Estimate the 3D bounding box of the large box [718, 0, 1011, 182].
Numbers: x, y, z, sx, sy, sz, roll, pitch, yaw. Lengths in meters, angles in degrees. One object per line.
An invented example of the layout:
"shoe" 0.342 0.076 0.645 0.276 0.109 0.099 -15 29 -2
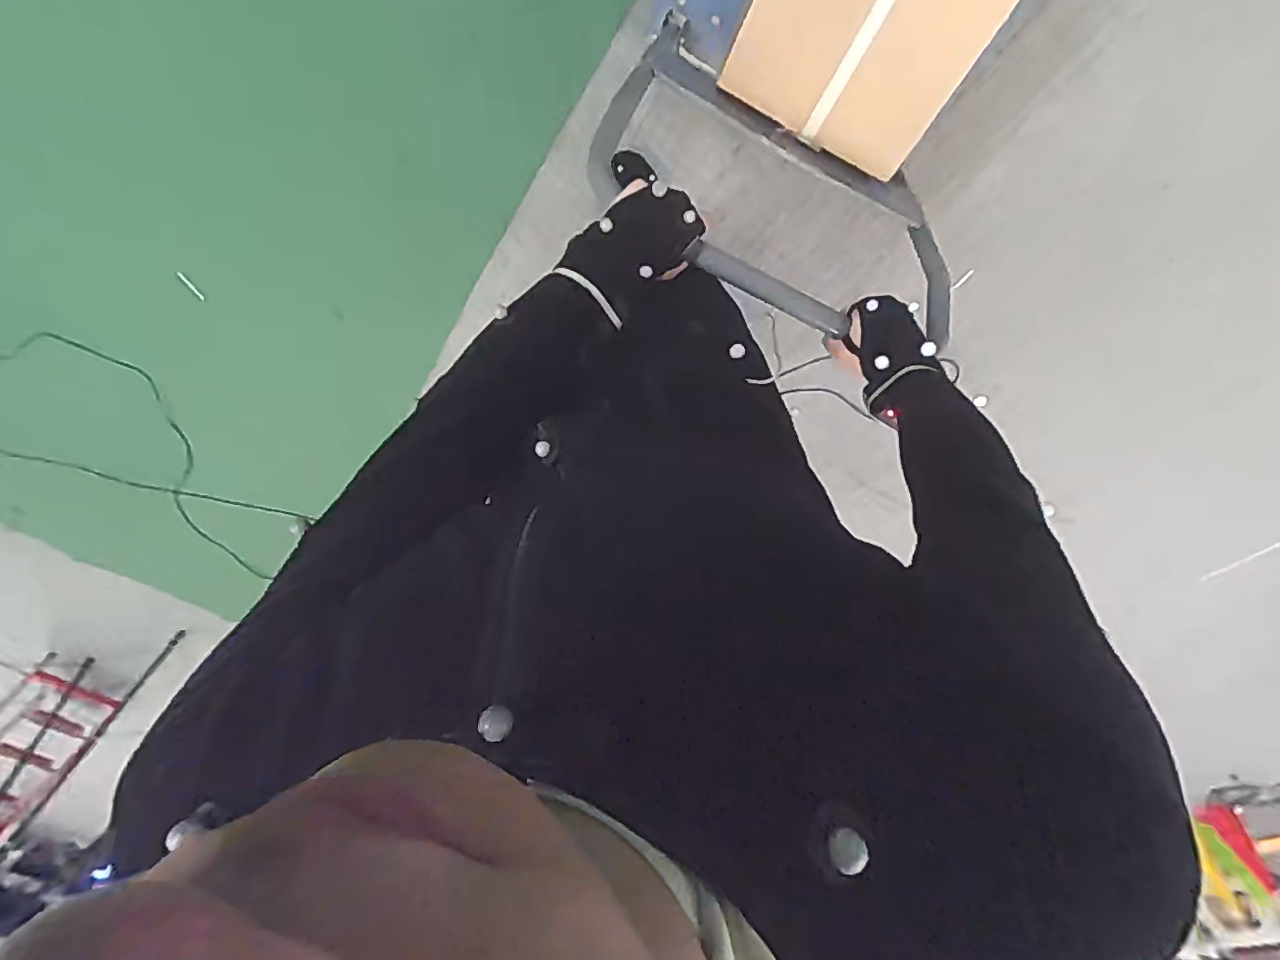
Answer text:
"large box" 0.350 -0.757 0.814 0.320 0.320 0.408 23 134 -11
